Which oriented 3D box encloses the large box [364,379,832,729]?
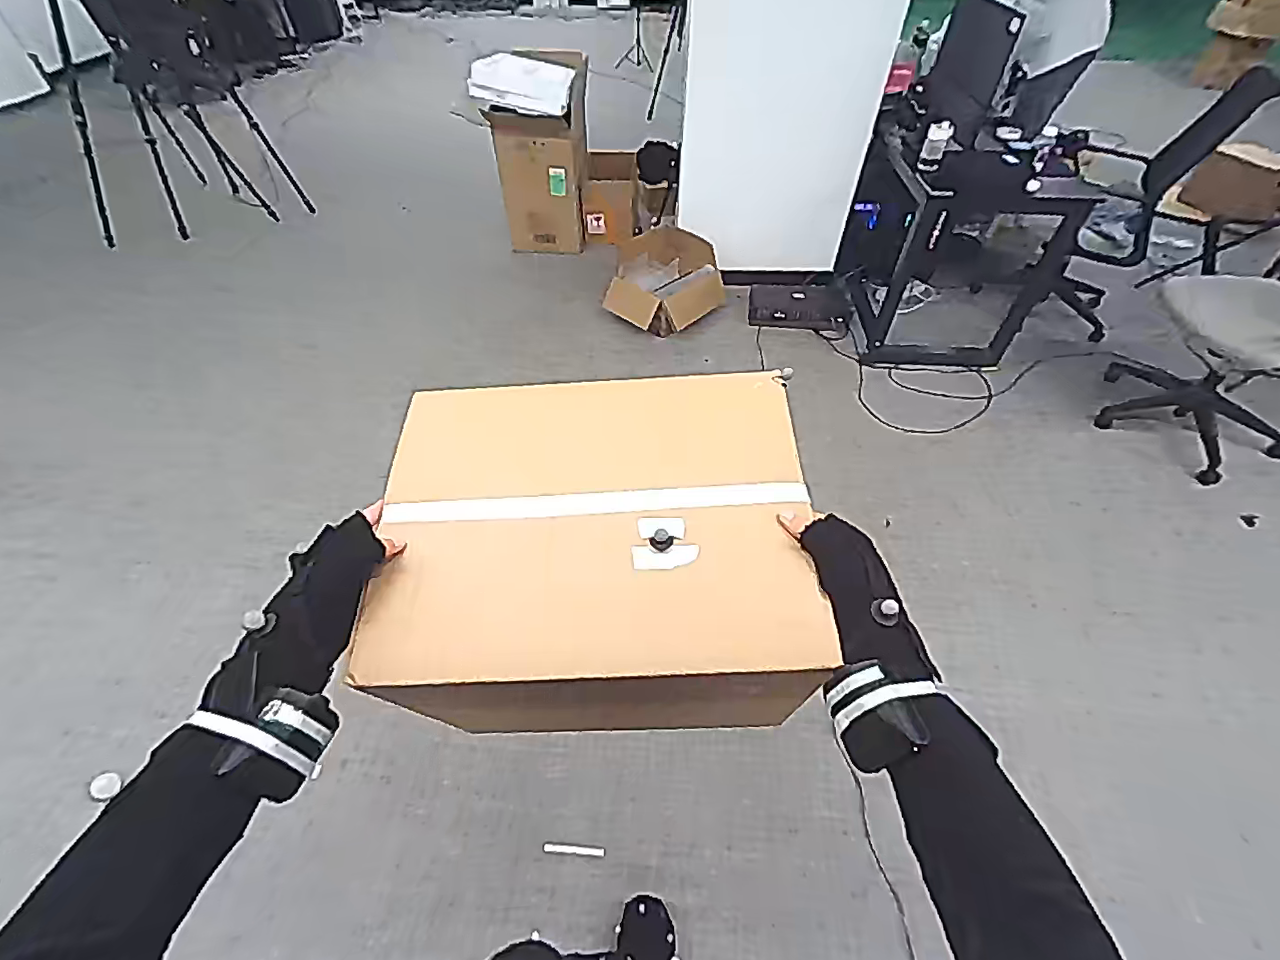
[{"bbox_3d":[-0.035,0.106,0.654,0.408,0.320,0.320,-3,58,2],"label":"large box"}]
